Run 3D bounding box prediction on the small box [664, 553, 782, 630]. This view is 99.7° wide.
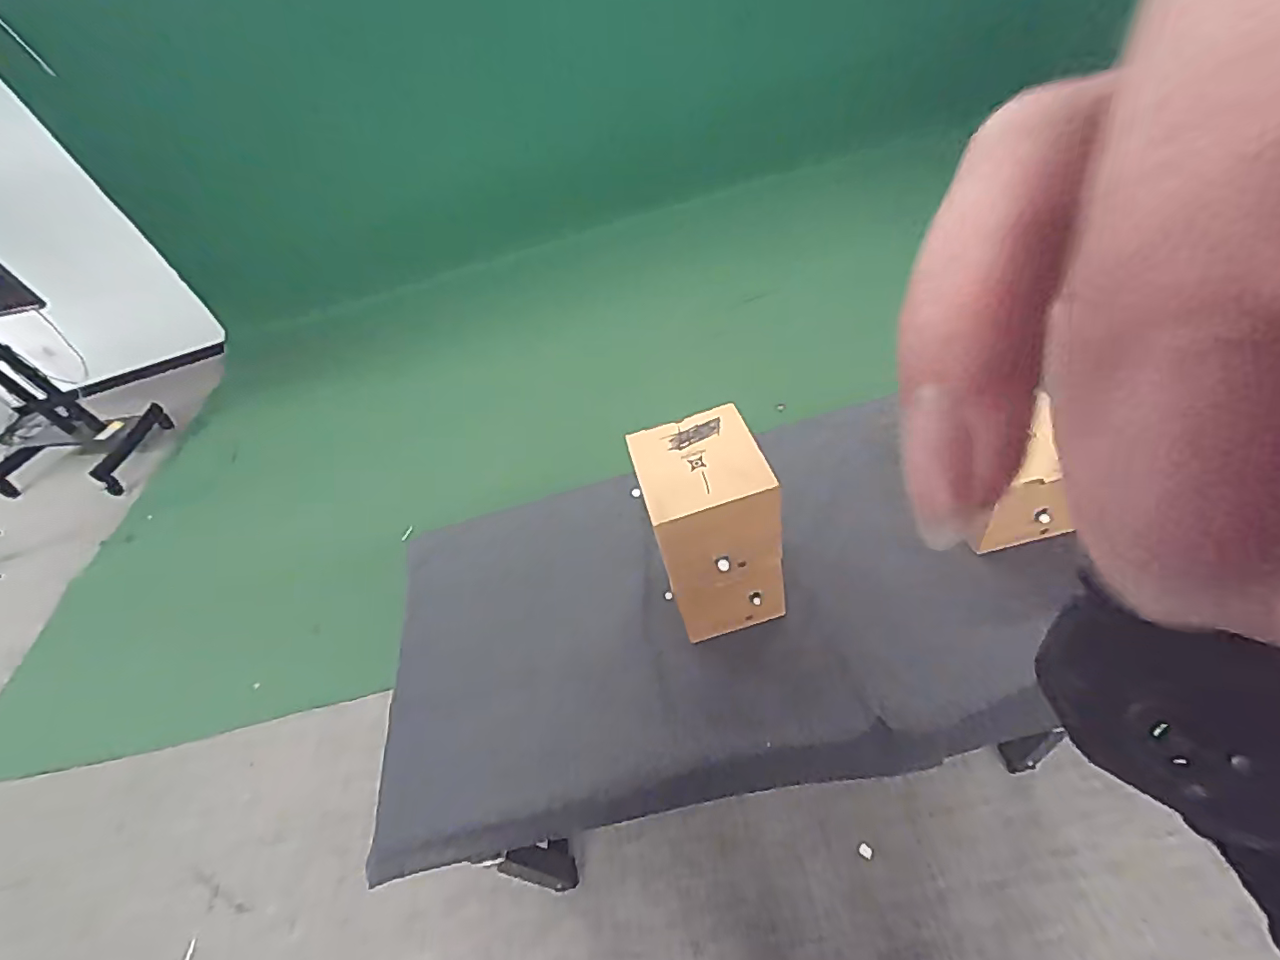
[{"bbox_3d":[0.125,0.124,0.884,0.168,0.176,0.179,-17,44,1],"label":"small box"}]

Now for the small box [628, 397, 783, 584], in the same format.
[{"bbox_3d":[0.091,0.016,0.765,0.168,0.176,0.179,-17,47,0],"label":"small box"}]

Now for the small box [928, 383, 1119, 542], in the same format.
[{"bbox_3d":[0.590,-0.019,0.863,0.168,0.176,0.179,-15,46,4],"label":"small box"}]
